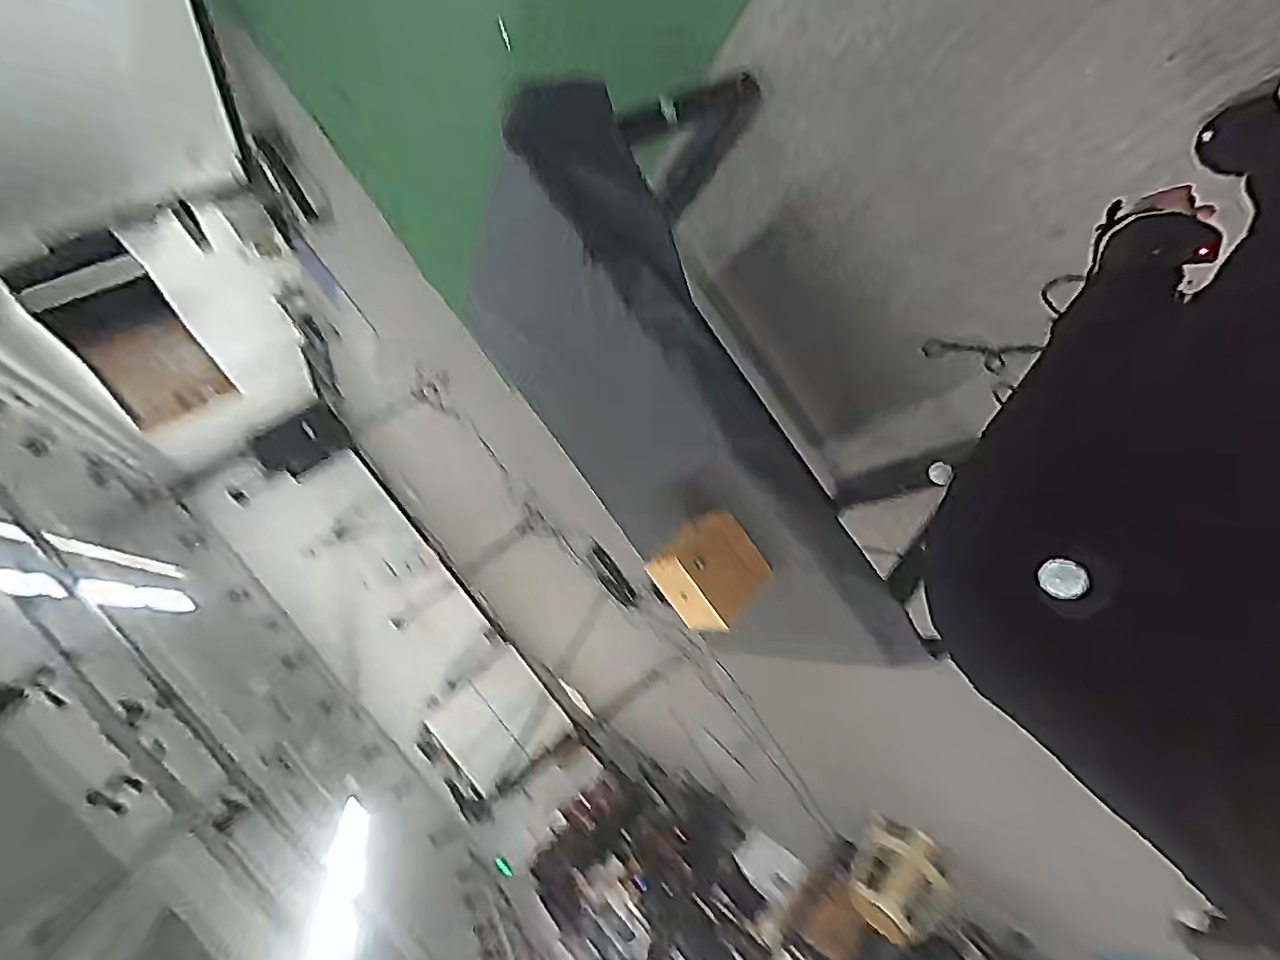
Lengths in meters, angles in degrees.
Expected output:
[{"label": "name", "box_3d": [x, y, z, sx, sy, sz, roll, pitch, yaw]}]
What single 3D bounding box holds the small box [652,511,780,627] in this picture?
[{"label": "small box", "box_3d": [0.164, 0.193, 1.162, 0.179, 0.176, 0.168, 54, 153, -2]}]
